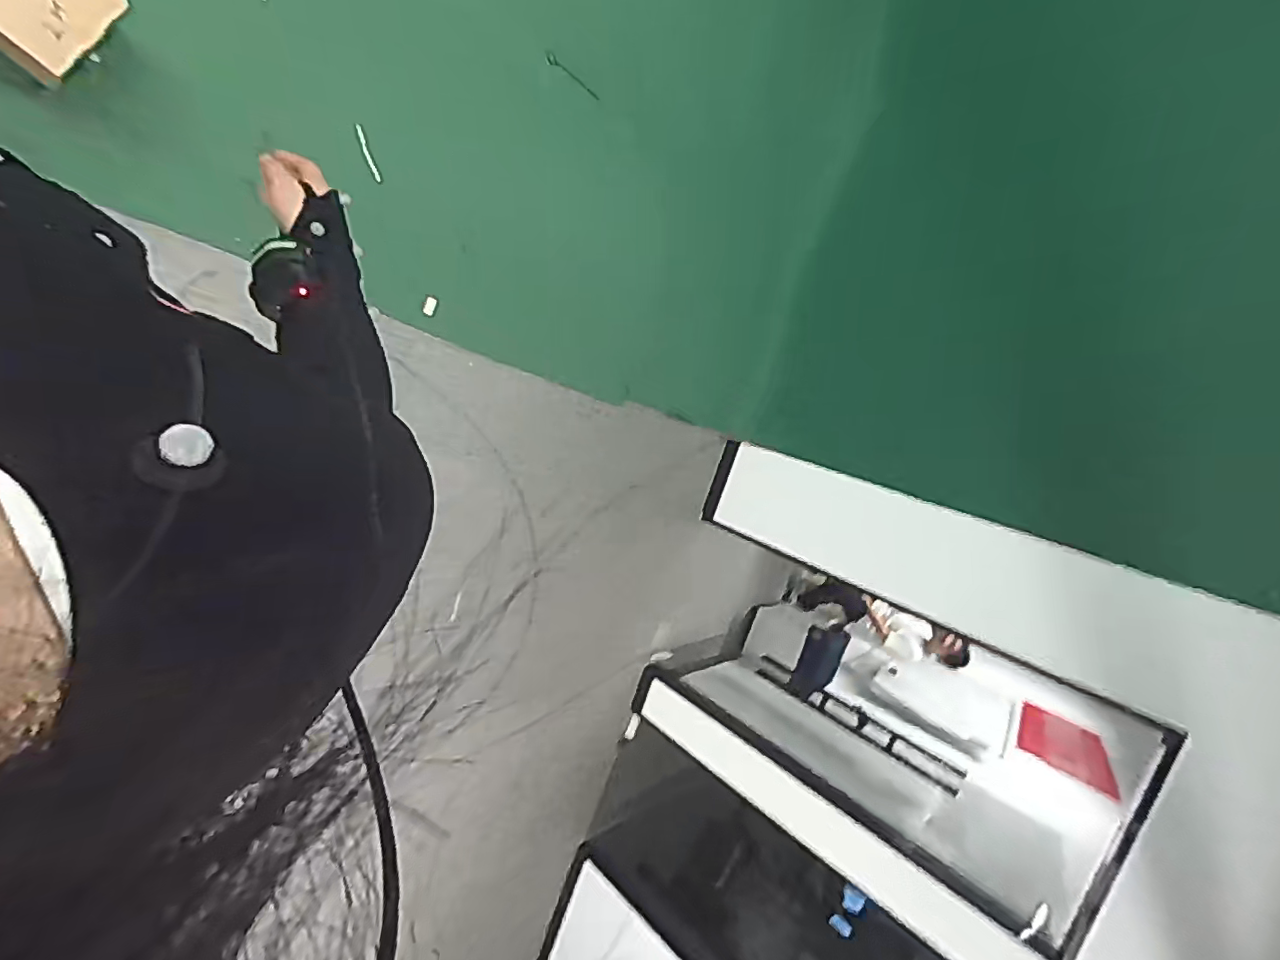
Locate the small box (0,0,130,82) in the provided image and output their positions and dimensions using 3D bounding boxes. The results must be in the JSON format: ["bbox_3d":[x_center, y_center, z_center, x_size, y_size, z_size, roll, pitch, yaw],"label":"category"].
[{"bbox_3d":[-0.938,-0.744,0.815,0.168,0.176,0.179,-58,143,-9],"label":"small box"}]
